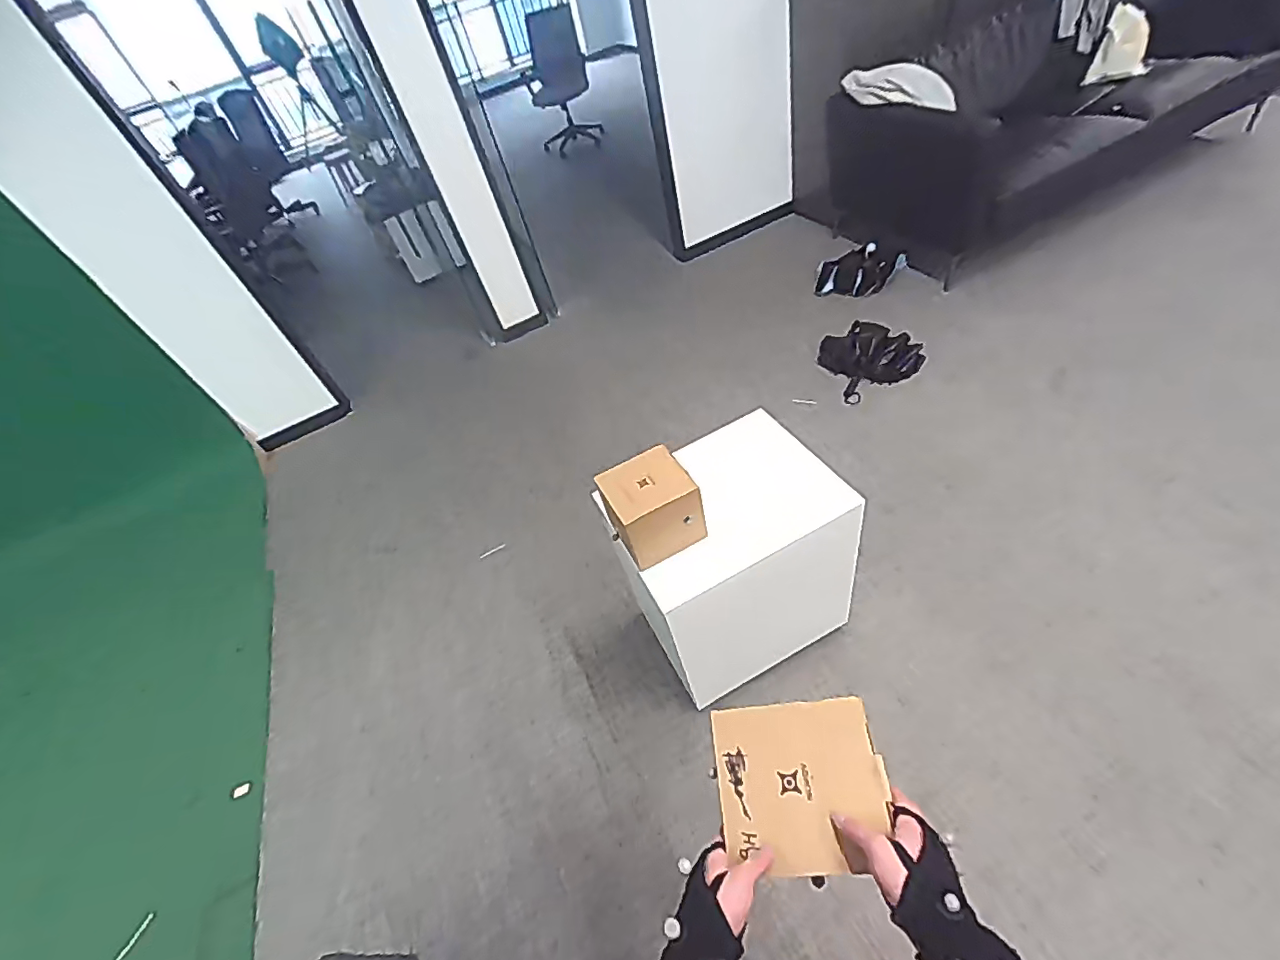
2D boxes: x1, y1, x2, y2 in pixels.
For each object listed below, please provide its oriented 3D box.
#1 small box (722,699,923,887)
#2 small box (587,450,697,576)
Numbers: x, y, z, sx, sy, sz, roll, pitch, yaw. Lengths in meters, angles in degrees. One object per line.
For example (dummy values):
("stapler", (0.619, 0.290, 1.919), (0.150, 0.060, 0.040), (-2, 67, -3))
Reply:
("small box", (0.197, 0.366, 0.633), (0.179, 0.176, 0.168), (-10, 55, 8))
("small box", (0.010, 0.071, 1.163), (0.179, 0.176, 0.168), (-27, 46, -13))
